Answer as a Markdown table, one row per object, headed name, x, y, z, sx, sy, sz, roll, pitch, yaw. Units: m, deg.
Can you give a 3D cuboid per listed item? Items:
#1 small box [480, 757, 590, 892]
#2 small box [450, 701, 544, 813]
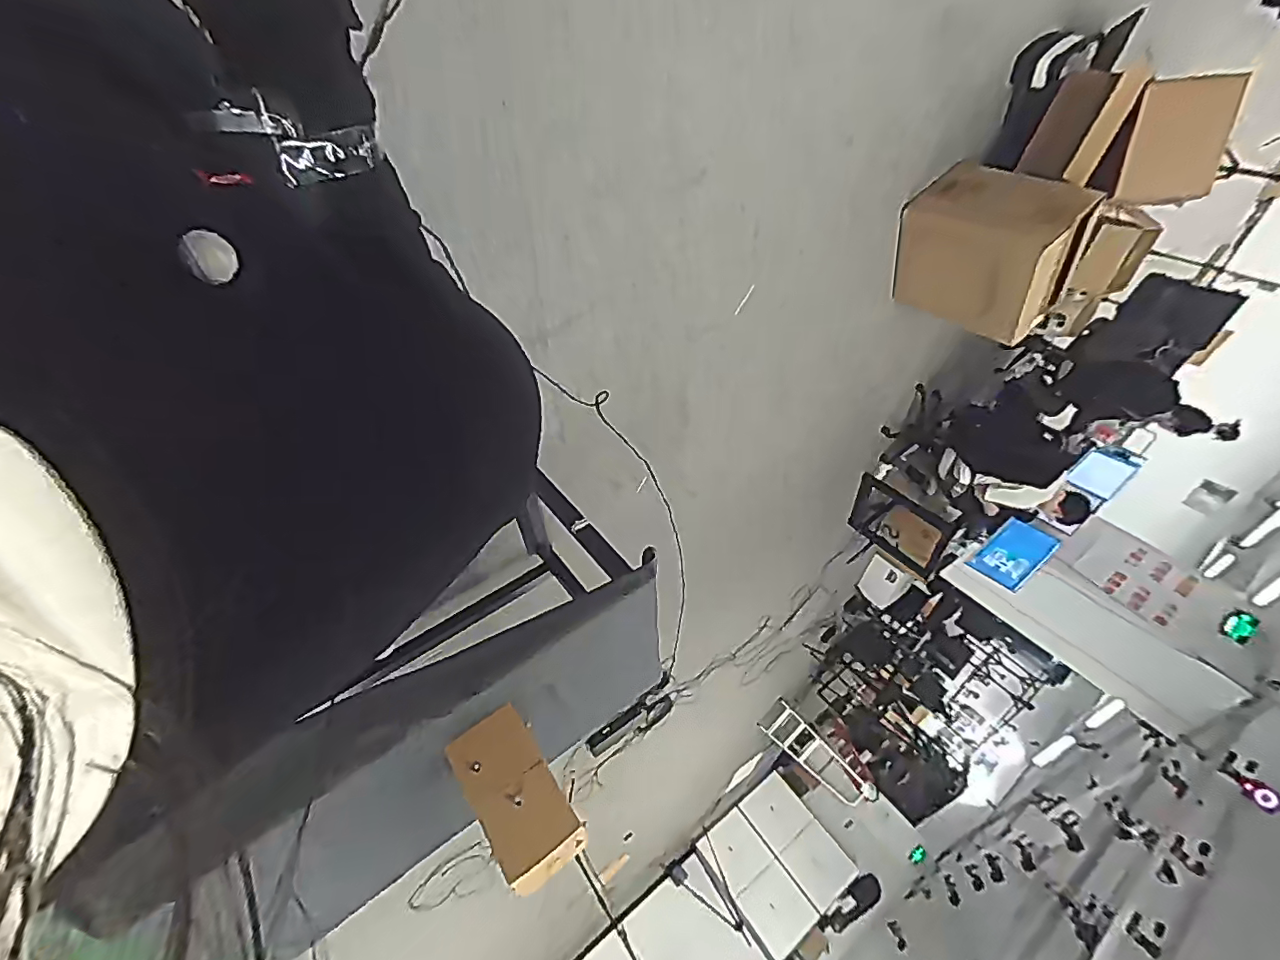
| name | x | y | z | sx | sy | sz | roll | pitch | yaw |
| --- | --- | --- | --- | --- | --- | --- | --- | --- | --- |
| small box | -0.238 | 0.764 | 1.209 | 0.179 | 0.176 | 0.168 | -32 | 141 | -22 |
| small box | -0.336 | 0.674 | 1.300 | 0.179 | 0.176 | 0.168 | -32 | 143 | -23 |
